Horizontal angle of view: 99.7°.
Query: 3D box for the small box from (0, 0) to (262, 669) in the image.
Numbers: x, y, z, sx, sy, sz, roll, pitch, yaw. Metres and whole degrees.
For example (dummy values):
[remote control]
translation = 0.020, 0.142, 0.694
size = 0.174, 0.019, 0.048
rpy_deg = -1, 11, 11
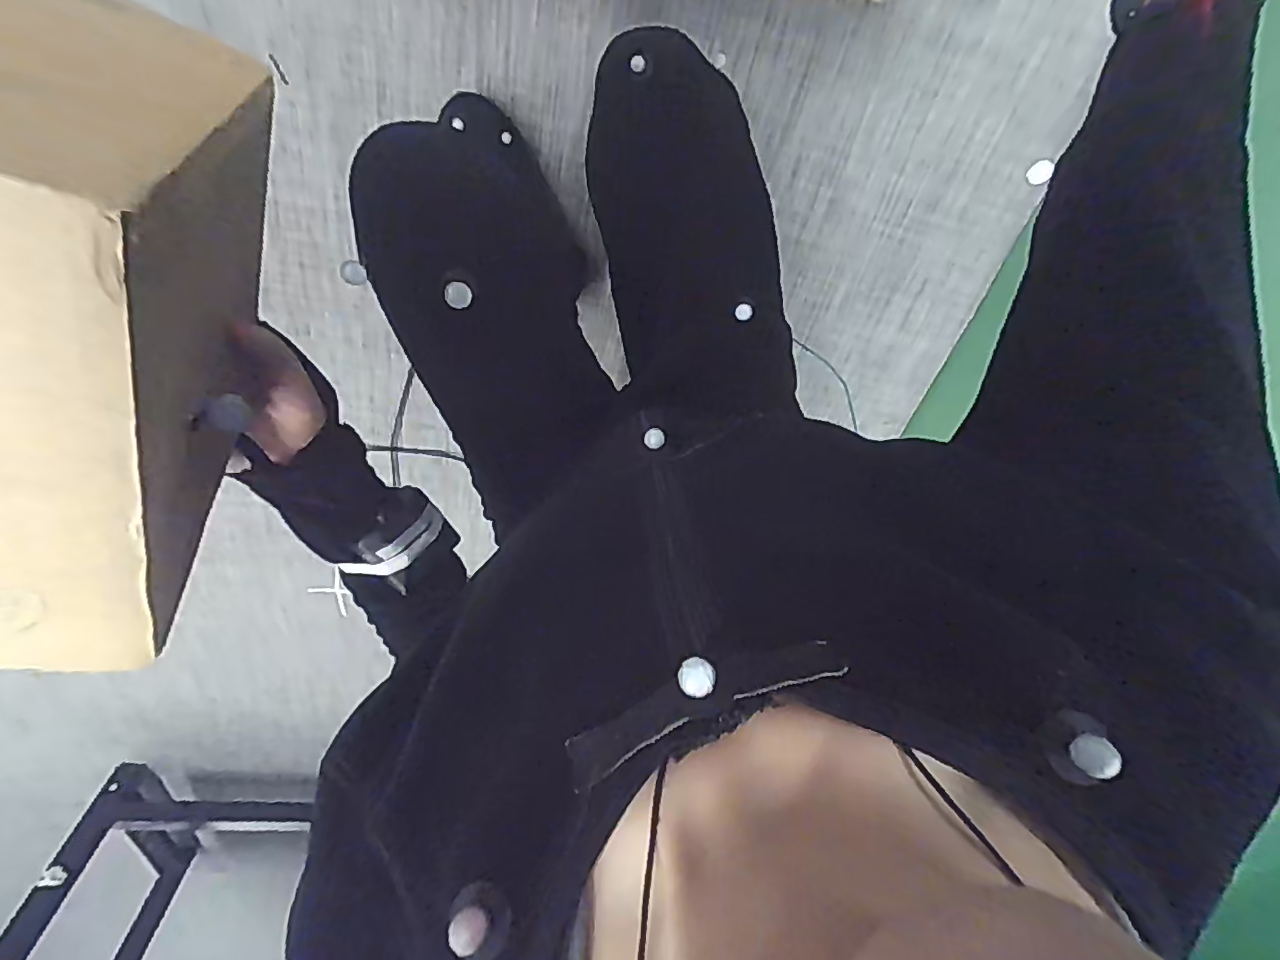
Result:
[small box]
translation = -0.228, -0.064, 0.159
size = 0.168, 0.176, 0.179
rpy_deg = 10, 128, -31
